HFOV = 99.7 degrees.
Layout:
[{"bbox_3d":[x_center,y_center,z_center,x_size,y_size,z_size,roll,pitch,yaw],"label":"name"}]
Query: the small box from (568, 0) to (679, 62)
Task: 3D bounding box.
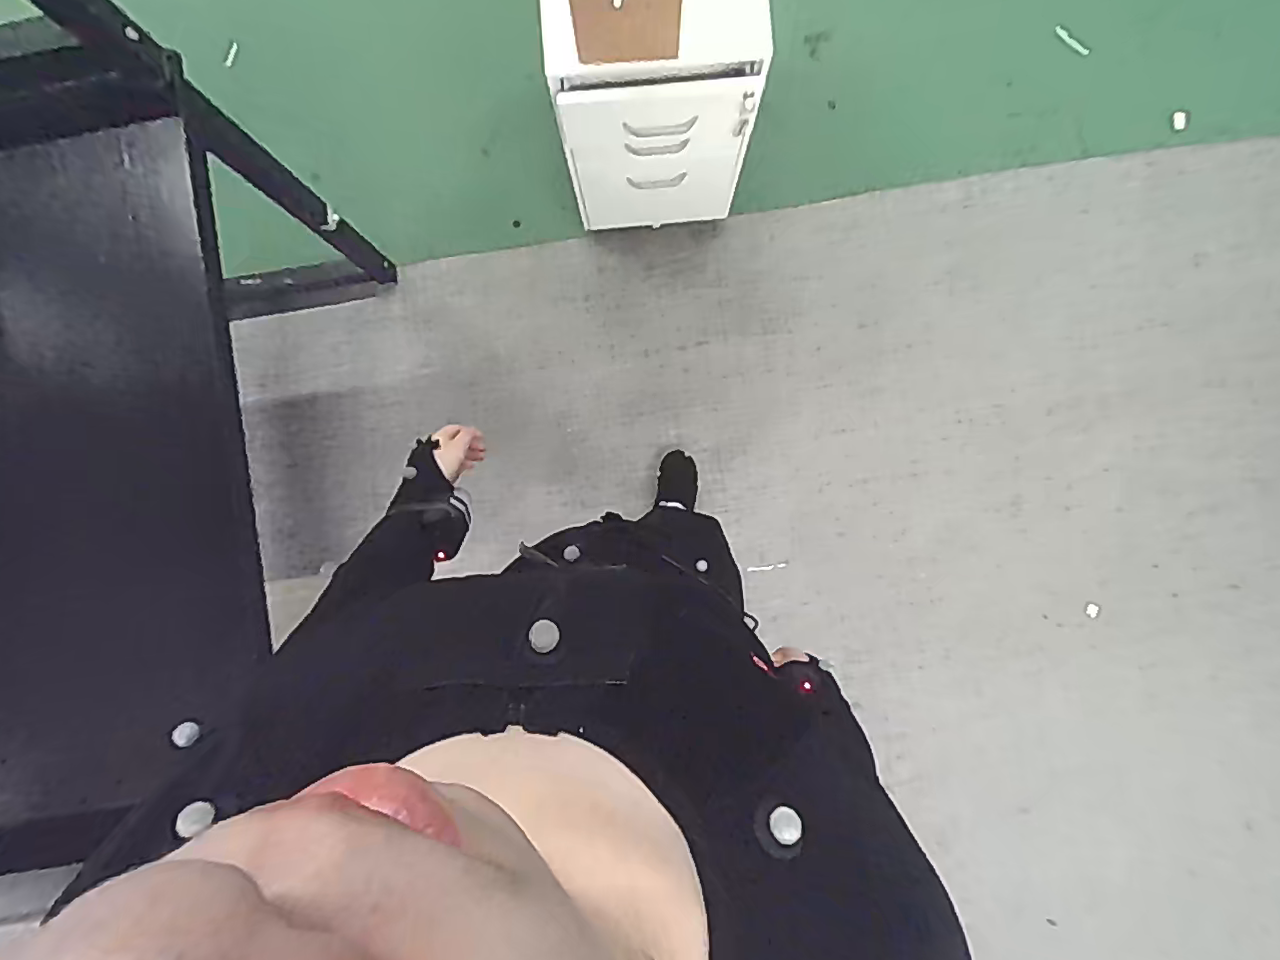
[{"bbox_3d":[-0.027,-0.796,0.845,0.179,0.176,0.168,-2,88,0],"label":"small box"}]
